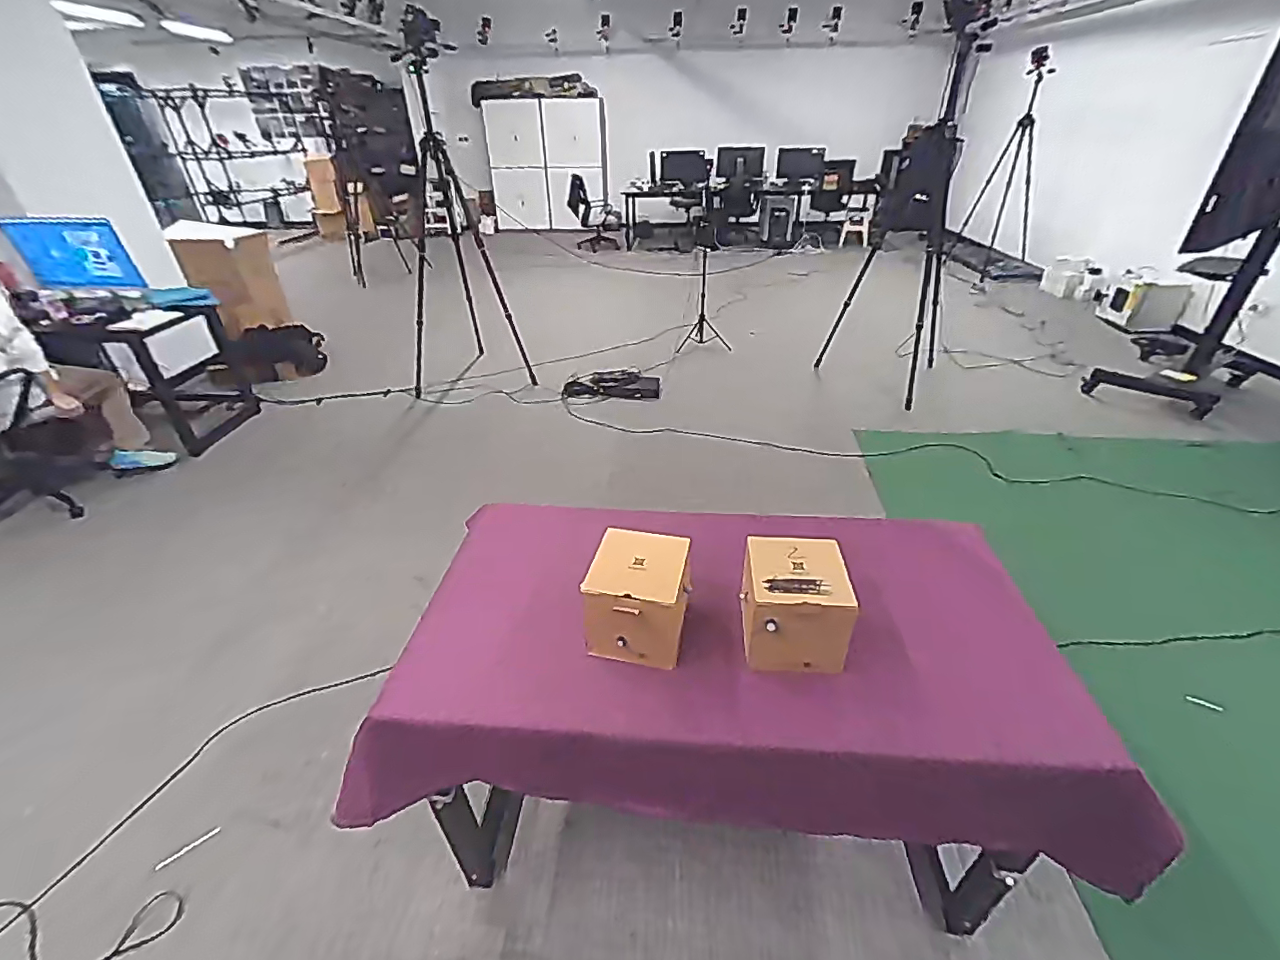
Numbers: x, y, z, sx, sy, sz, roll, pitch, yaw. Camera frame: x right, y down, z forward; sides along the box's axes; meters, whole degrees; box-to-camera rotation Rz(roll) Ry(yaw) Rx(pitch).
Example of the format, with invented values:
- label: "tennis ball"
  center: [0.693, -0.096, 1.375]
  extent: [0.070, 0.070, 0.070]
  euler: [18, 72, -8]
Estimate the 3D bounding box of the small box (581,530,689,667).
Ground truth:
- label: "small box"
  center: [-0.004, 0.221, 1.027]
  extent: [0.168, 0.176, 0.179]
  euler: [6, 35, 11]
